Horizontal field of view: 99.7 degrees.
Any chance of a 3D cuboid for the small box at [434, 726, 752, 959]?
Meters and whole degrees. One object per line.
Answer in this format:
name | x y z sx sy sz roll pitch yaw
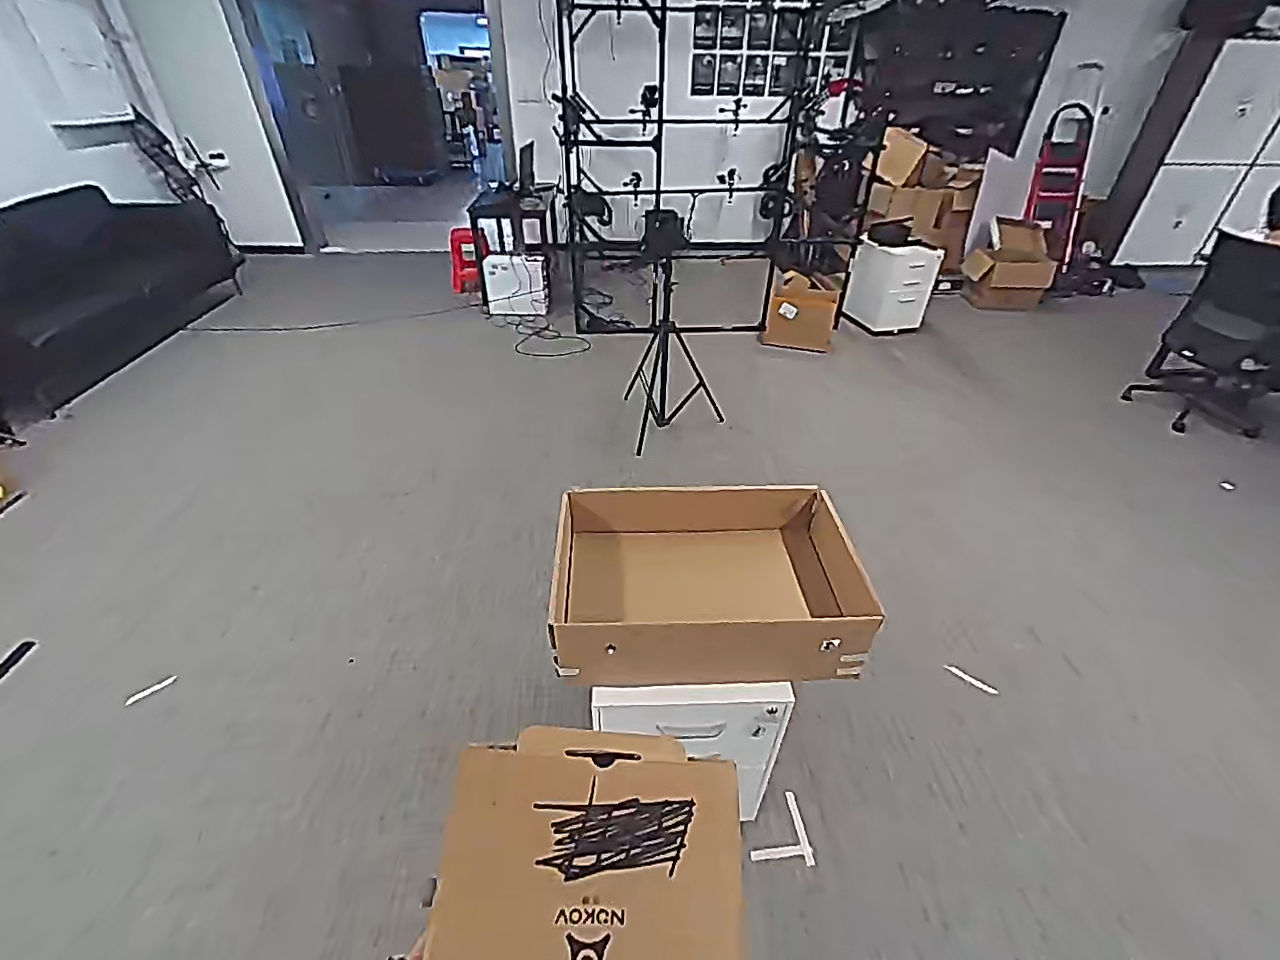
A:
small box | -0.034 0.271 0.351 0.168 0.176 0.179 7 58 -6
